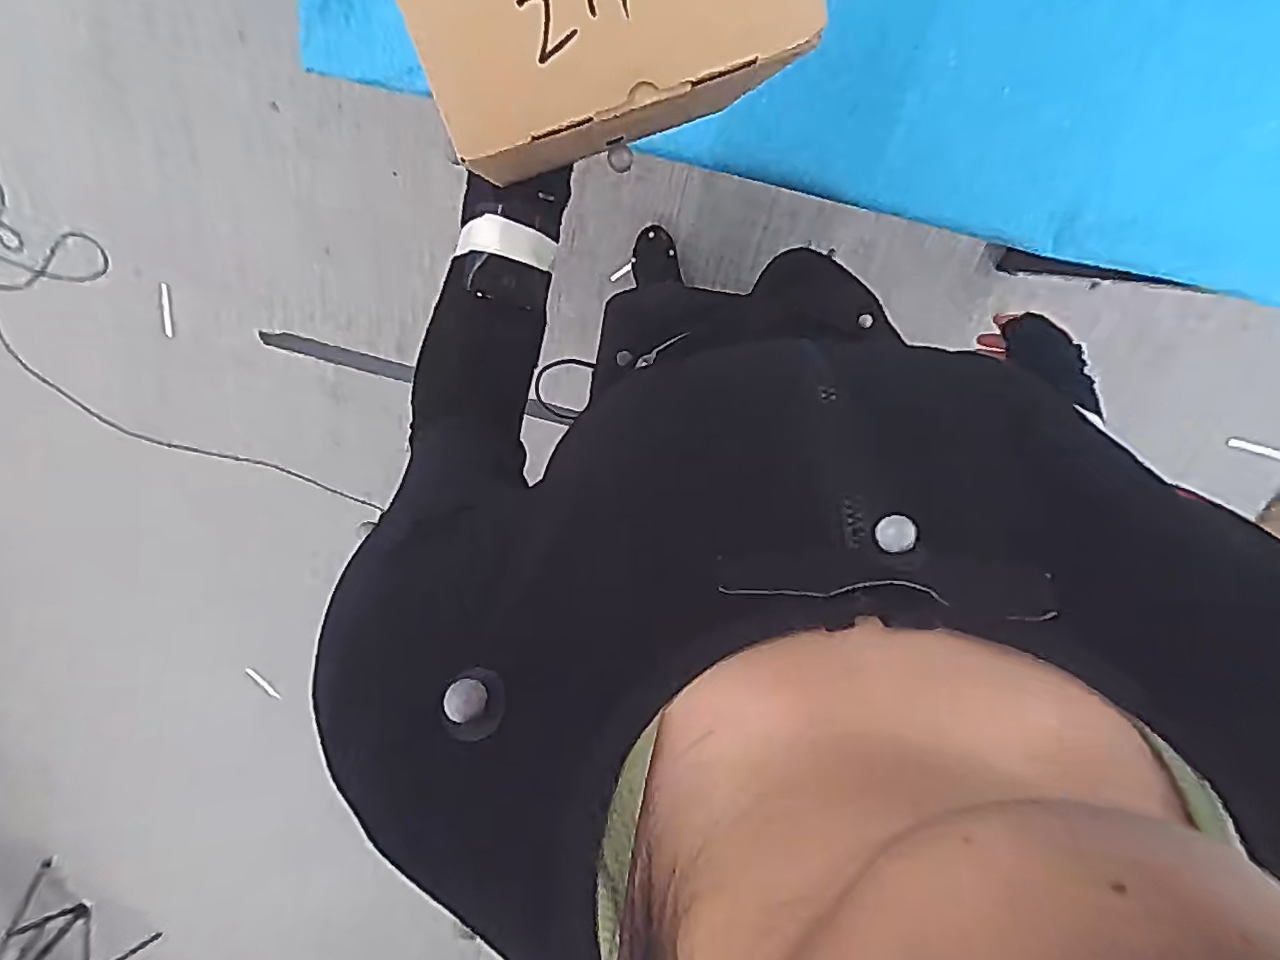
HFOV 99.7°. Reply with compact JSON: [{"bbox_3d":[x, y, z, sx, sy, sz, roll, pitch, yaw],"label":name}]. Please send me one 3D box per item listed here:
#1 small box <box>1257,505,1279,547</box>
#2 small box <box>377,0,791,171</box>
[{"bbox_3d":[1.775,0.129,1.380,0.179,0.176,0.168,13,115,-2],"label":"small box"},{"bbox_3d":[-0.039,-0.268,0.265,0.168,0.176,0.179,-14,119,0],"label":"small box"}]
